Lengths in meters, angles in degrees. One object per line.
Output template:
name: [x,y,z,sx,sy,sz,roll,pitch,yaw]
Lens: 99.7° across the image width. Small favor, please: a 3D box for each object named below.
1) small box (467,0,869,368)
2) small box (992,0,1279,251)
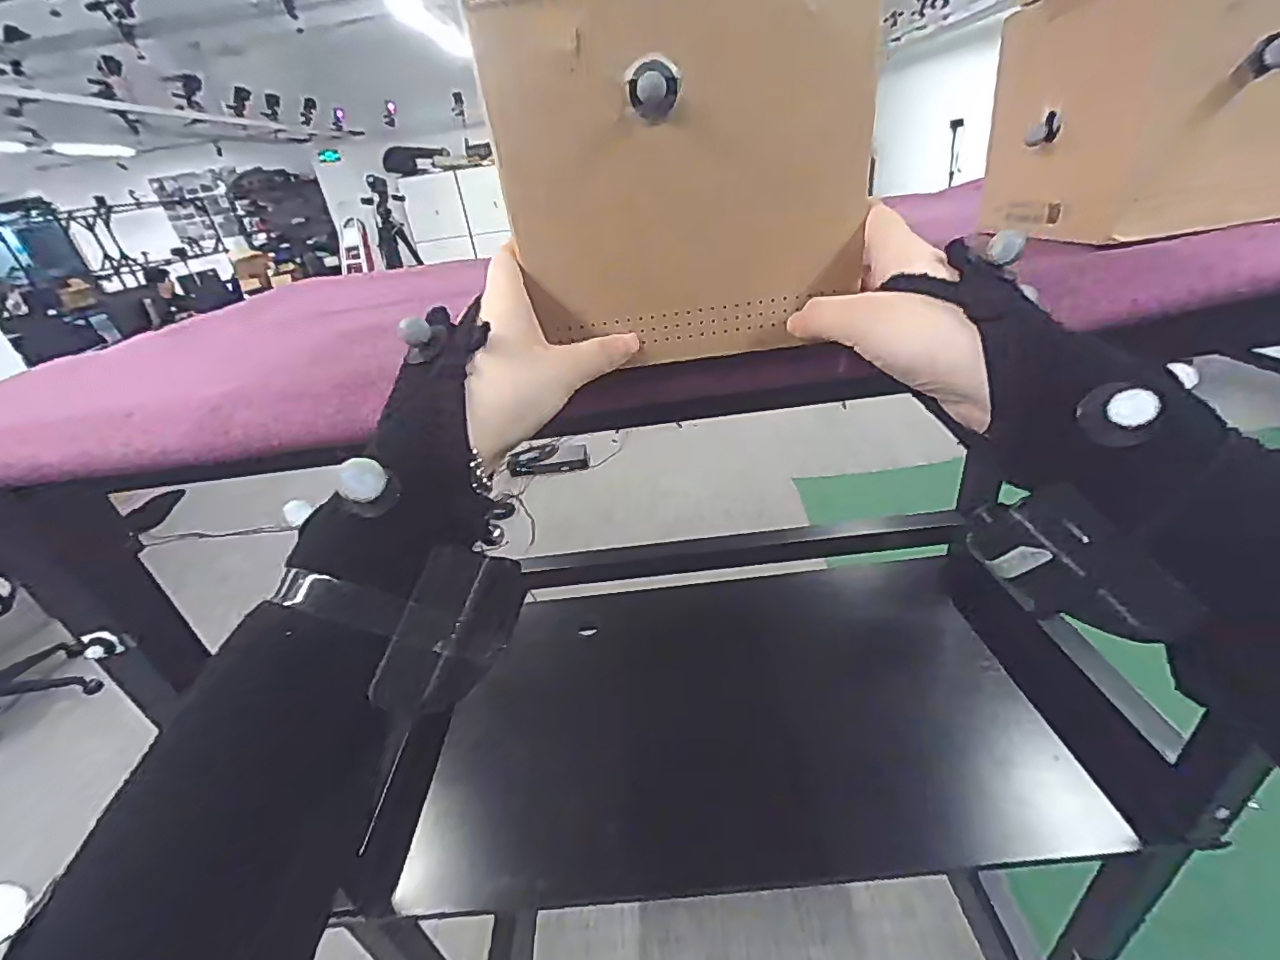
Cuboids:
small box: [0.022,-0.175,0.327,0.179,0.176,0.168,-7,31,2]
small box: [0.396,-0.277,0.405,0.179,0.176,0.168,-8,28,4]
